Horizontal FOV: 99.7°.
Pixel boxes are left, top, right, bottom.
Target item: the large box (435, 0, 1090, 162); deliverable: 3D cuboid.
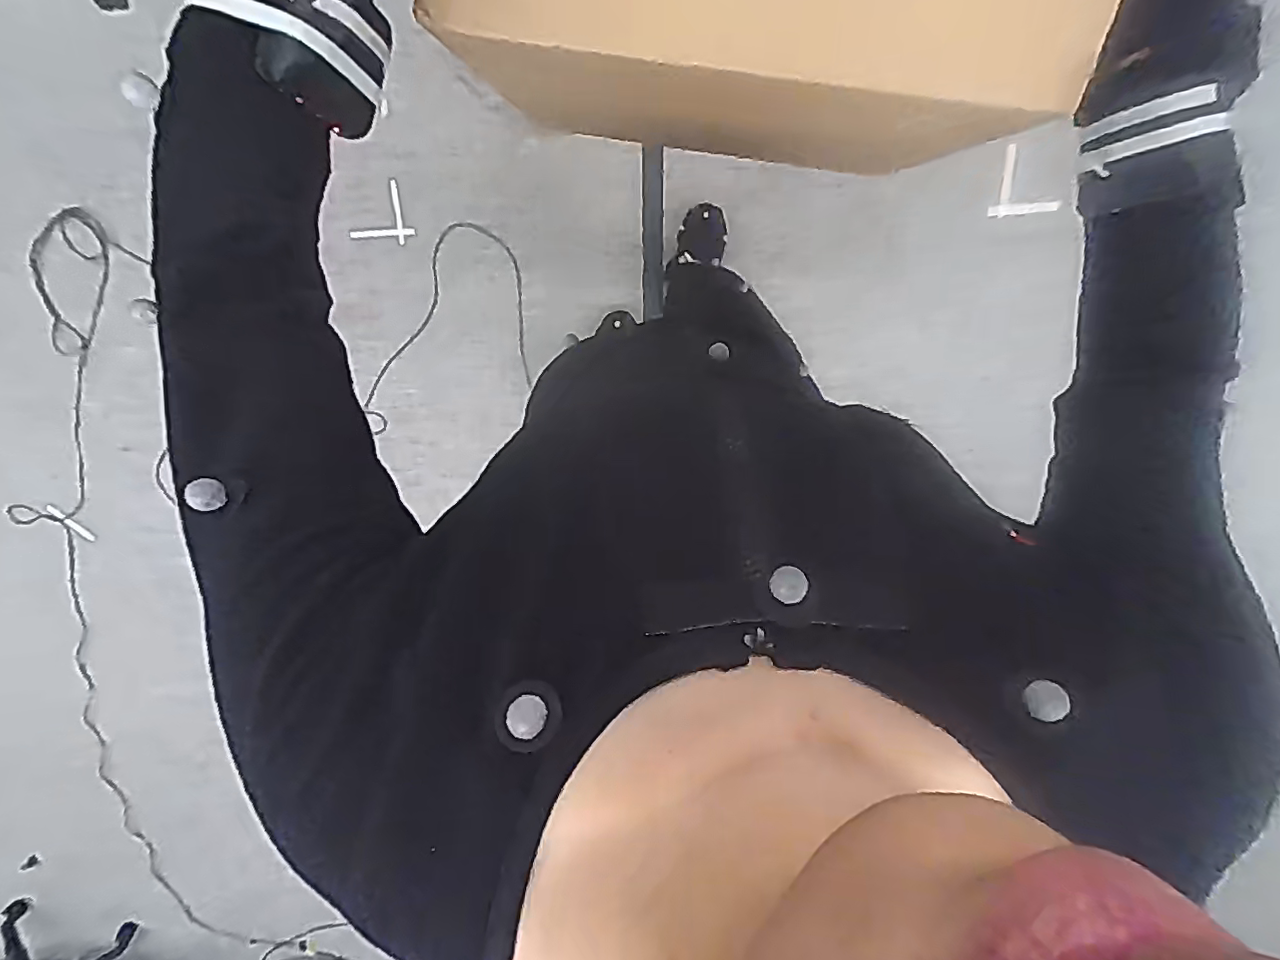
[{"bbox_3d":[0.087,-0.463,0.416,0.408,0.320,0.320,7,114,-1],"label":"large box"}]
